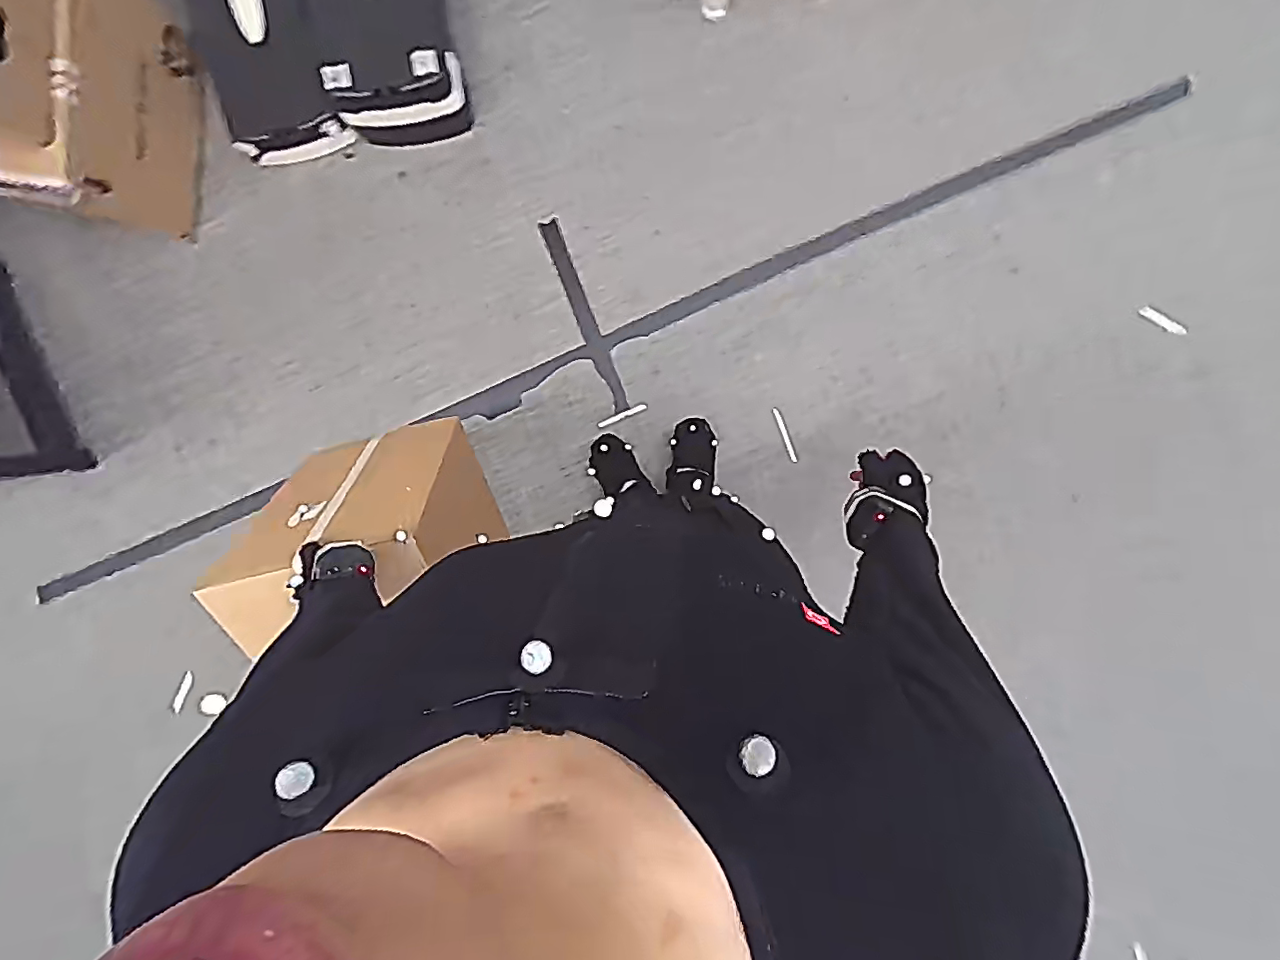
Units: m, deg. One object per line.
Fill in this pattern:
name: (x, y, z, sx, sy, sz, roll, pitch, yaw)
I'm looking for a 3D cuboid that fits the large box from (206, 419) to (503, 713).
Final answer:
large box: (-0.456, 0.135, 0.992, 0.320, 0.408, 0.320, -14, 122, 0)
